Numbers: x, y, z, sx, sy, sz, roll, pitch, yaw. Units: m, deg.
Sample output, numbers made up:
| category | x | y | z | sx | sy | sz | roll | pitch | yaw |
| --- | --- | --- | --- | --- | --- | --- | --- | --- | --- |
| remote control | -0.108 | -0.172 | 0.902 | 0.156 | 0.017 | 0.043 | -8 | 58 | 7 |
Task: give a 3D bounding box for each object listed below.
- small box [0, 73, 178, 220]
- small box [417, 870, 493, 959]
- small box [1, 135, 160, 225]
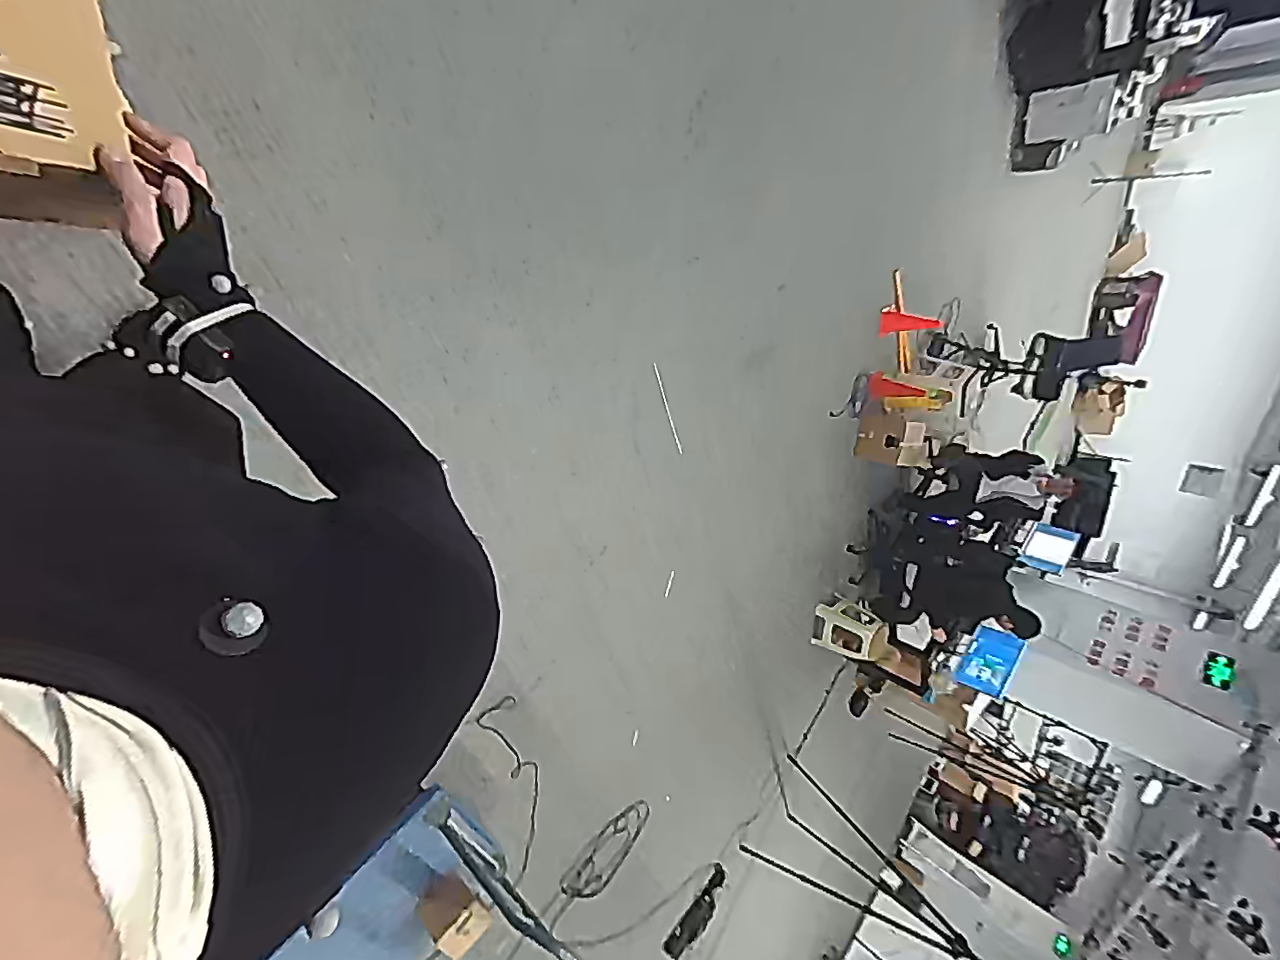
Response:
| category | x | y | z | sx | sy | sz | roll | pitch | yaw |
| --- | --- | --- | --- | --- | --- | --- | --- | --- | --- |
| small box | -0.929 | -0.550 | 0.903 | 0.168 | 0.176 | 0.179 | -36 | 128 | -33 |
| small box | -0.667 | 1.550 | 1.938 | 0.168 | 0.176 | 0.179 | -38 | 129 | -30 |
| small box | -1.045 | -0.585 | 1.009 | 0.168 | 0.176 | 0.179 | -28 | 125 | -33 |
